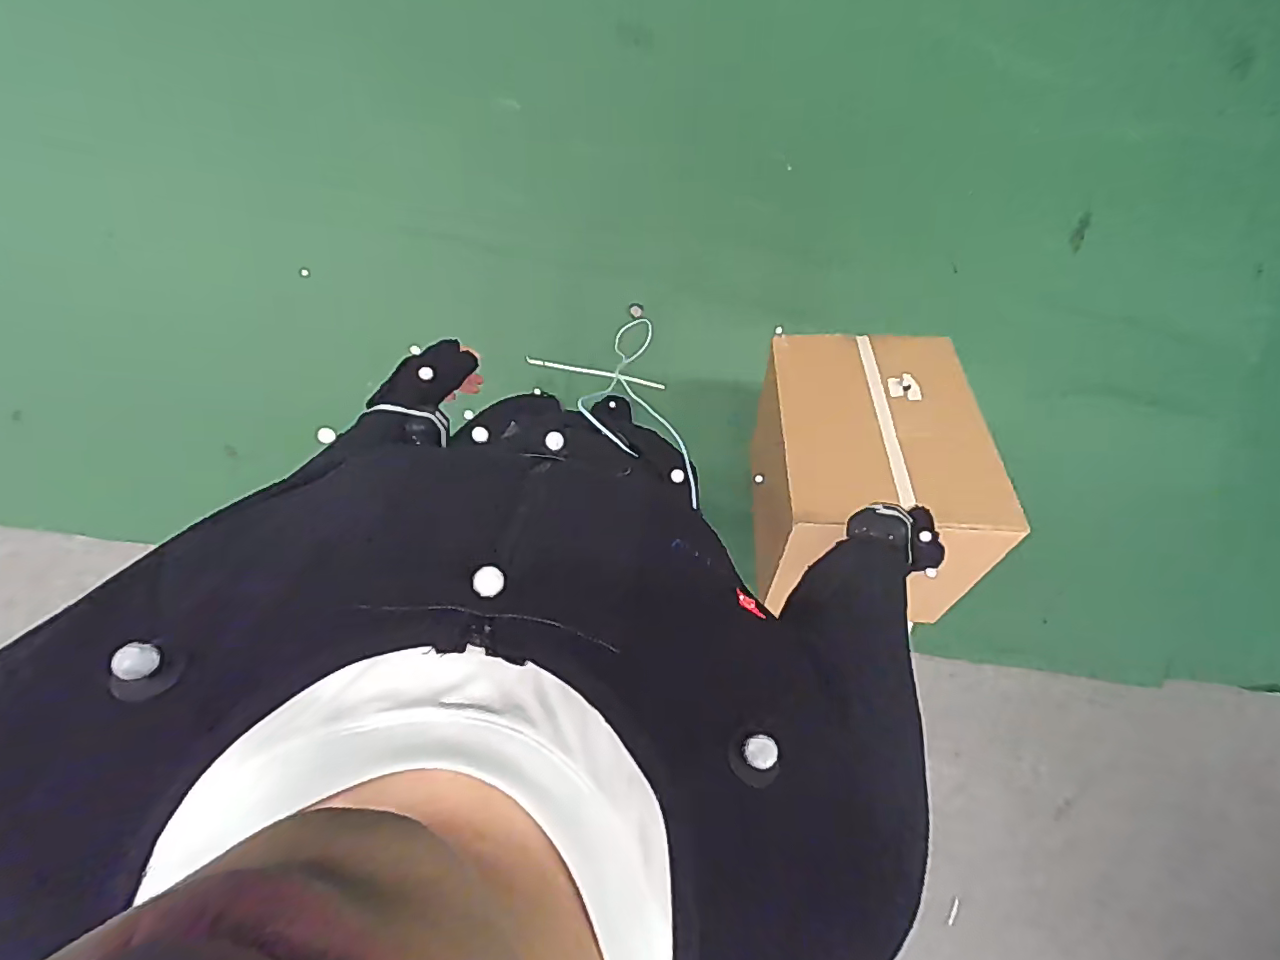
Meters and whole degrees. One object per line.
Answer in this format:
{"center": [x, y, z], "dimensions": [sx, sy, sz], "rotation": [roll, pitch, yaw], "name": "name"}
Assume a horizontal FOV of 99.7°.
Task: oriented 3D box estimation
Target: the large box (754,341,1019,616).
{"center": [0.388, 0.000, 0.985], "dimensions": [0.320, 0.408, 0.320], "rotation": [3, 143, 4], "name": "large box"}
